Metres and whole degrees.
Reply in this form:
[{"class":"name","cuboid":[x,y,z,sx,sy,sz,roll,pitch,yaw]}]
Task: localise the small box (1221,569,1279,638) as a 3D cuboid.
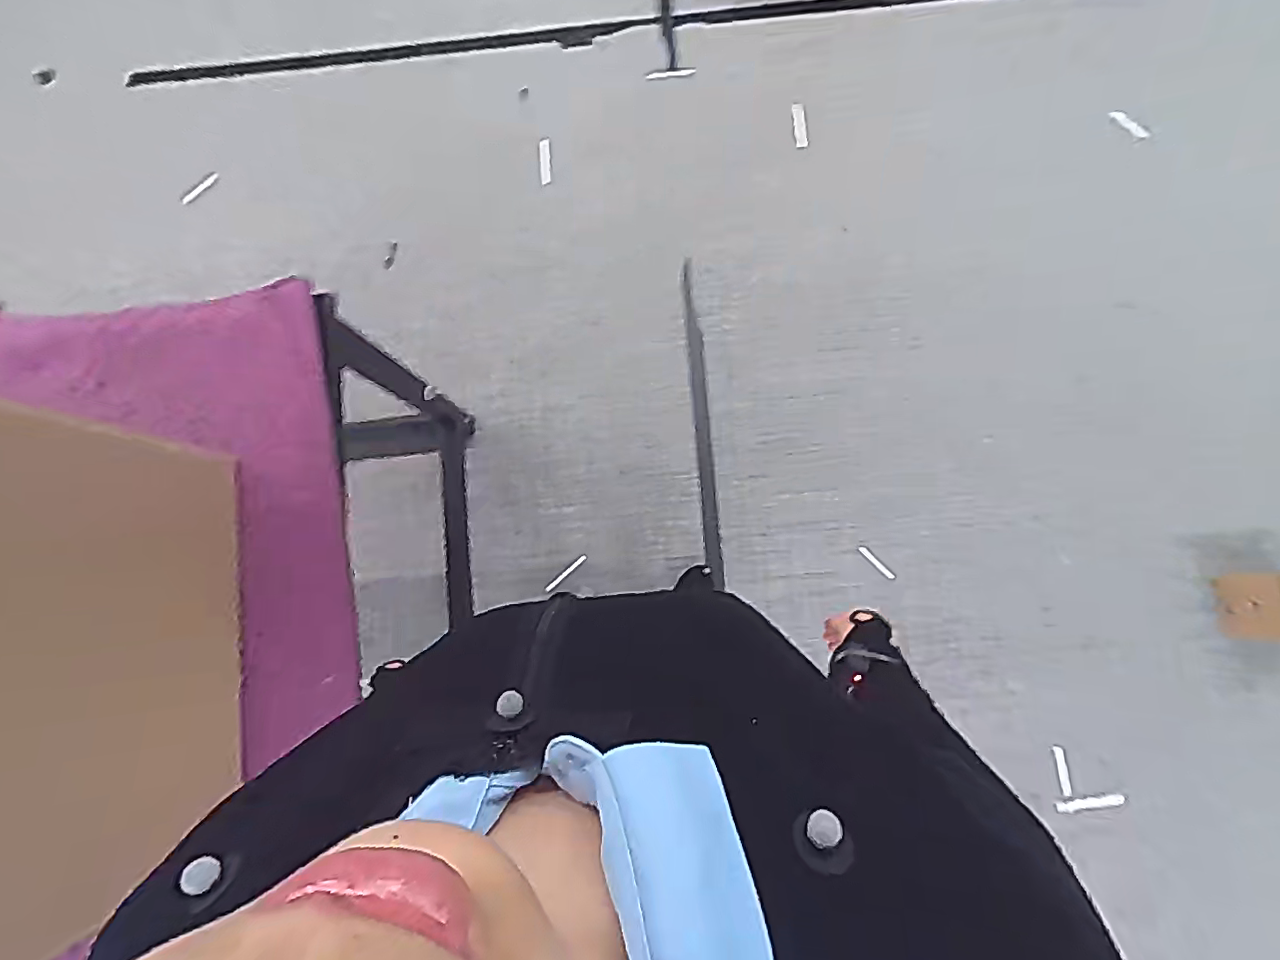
[{"class":"small box","cuboid":[1.650,0.313,1.378,0.179,0.176,0.168,-1,82,1]}]
